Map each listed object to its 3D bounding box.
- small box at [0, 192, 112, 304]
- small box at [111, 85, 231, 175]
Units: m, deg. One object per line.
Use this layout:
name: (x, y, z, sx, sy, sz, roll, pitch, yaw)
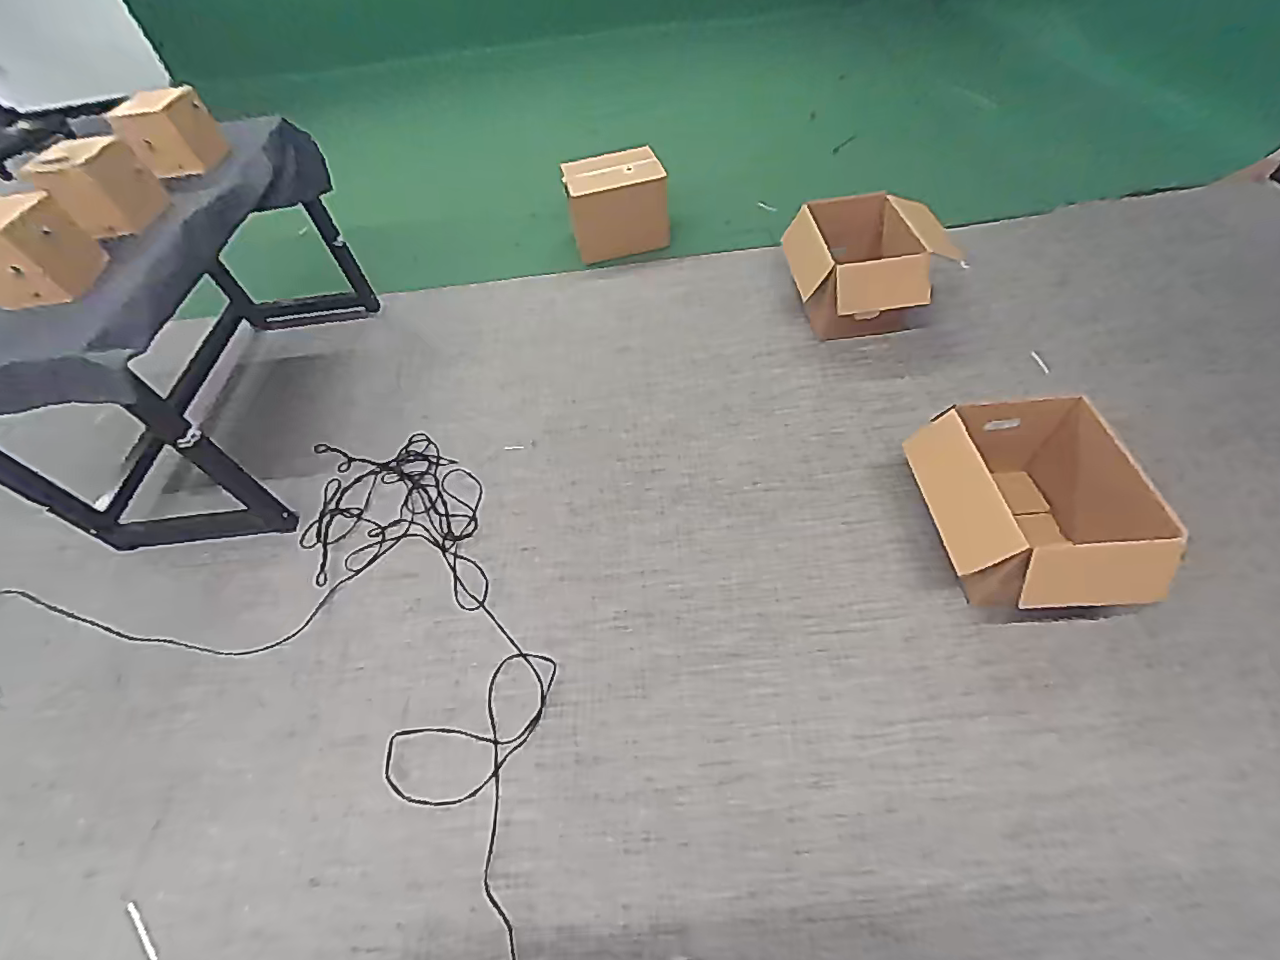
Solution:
small box: (-1.354, -0.509, 1.204, 0.168, 0.176, 0.179, -6, 52, 1)
small box: (-1.346, -1.008, 1.570, 0.168, 0.176, 0.179, -5, 53, 4)
